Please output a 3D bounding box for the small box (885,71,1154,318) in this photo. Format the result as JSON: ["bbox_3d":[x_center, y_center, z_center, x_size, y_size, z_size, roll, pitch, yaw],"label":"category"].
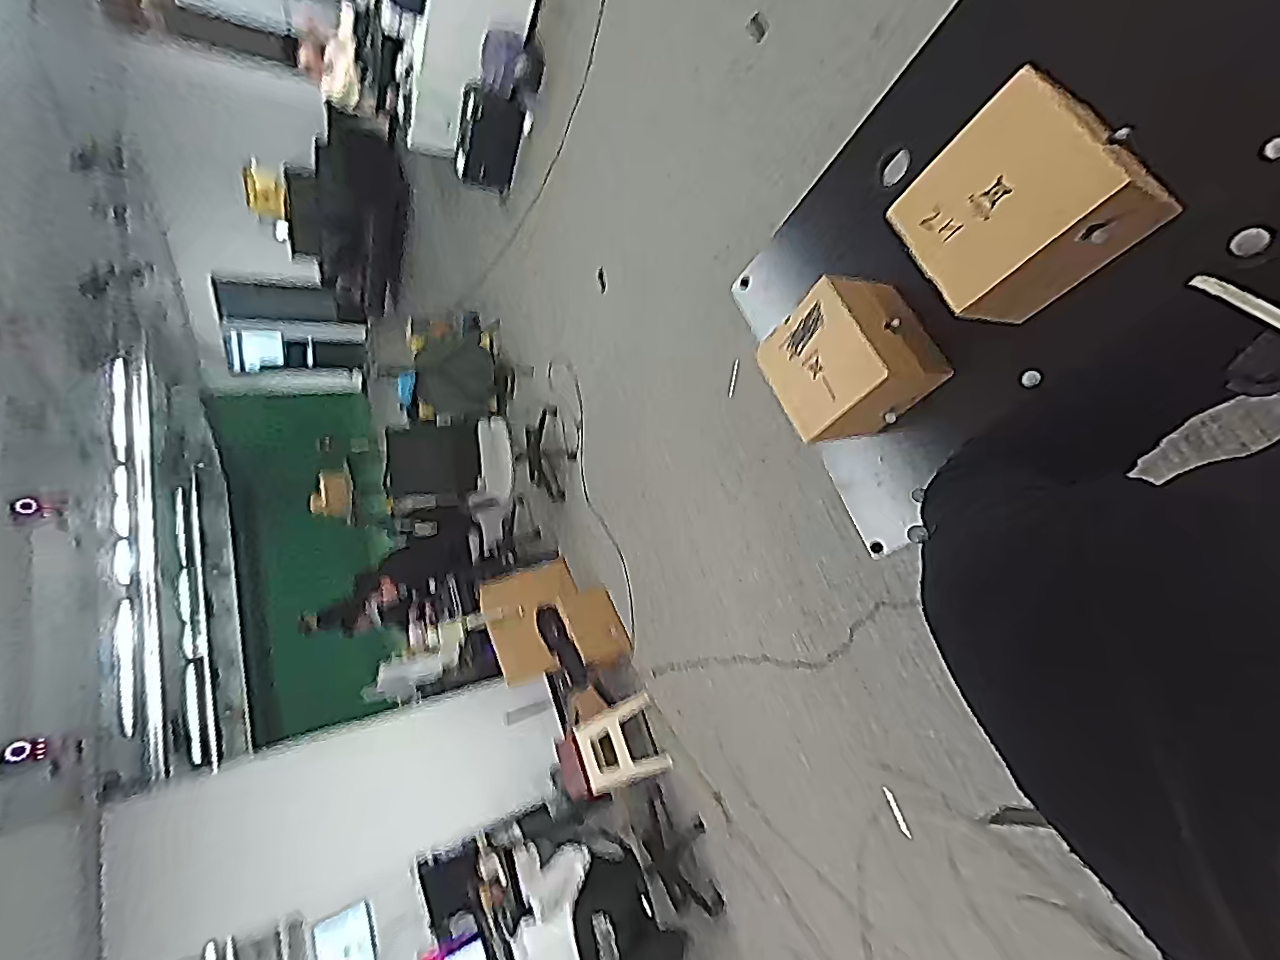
[{"bbox_3d":[0.433,-0.308,0.621,0.179,0.176,0.168,-47,58,50],"label":"small box"}]

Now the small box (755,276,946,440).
[{"bbox_3d":[0.316,-0.180,0.824,0.168,0.176,0.179,-49,57,49],"label":"small box"}]
